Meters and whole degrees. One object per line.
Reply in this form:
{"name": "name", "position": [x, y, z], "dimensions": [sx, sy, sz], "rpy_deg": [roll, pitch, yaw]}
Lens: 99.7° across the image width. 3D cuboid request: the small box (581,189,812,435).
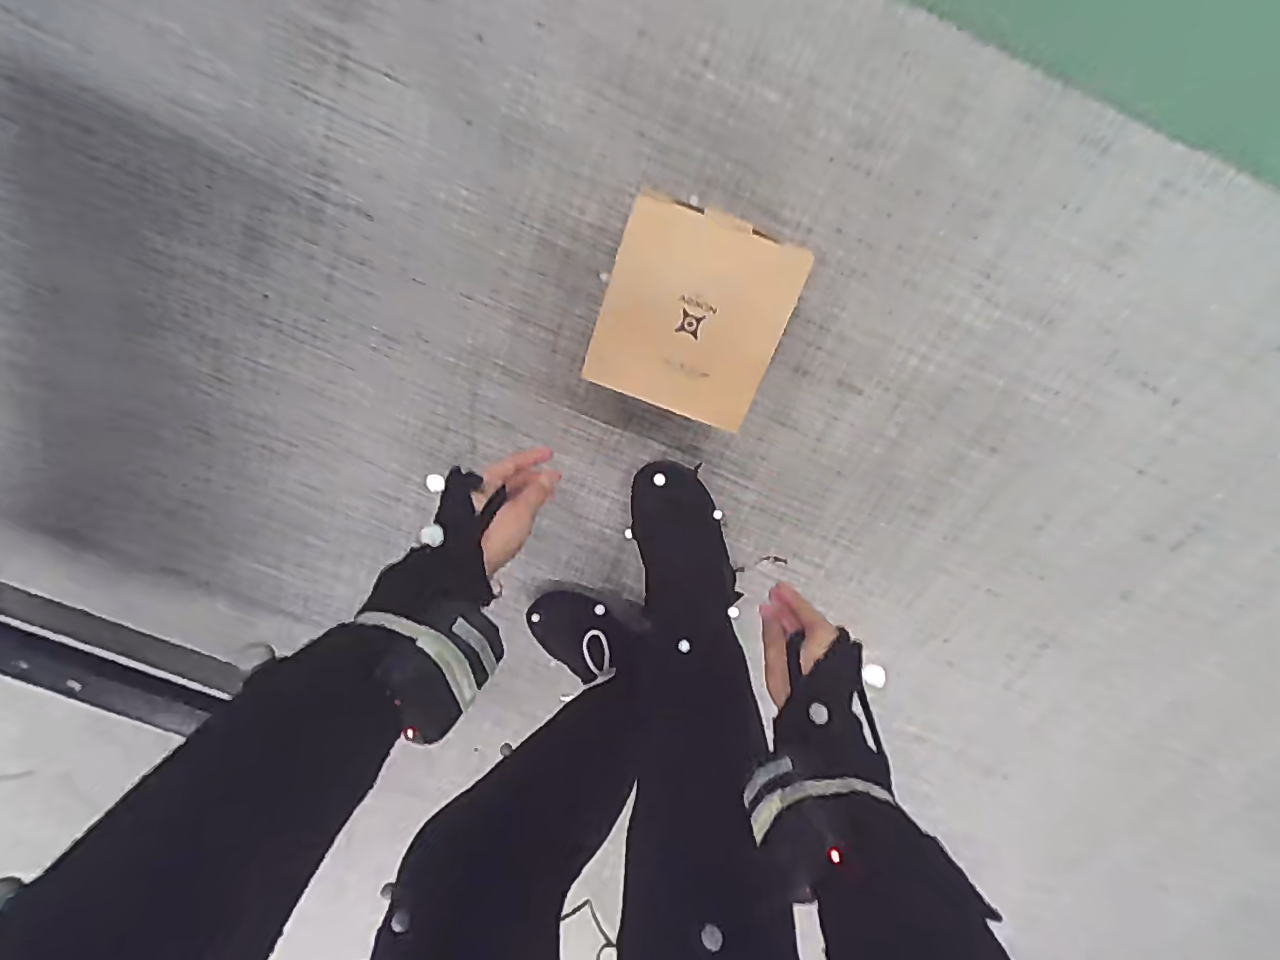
{"name": "small box", "position": [0.052, -0.174, 0.565], "dimensions": [0.168, 0.176, 0.179], "rpy_deg": [19, 112, -2]}
